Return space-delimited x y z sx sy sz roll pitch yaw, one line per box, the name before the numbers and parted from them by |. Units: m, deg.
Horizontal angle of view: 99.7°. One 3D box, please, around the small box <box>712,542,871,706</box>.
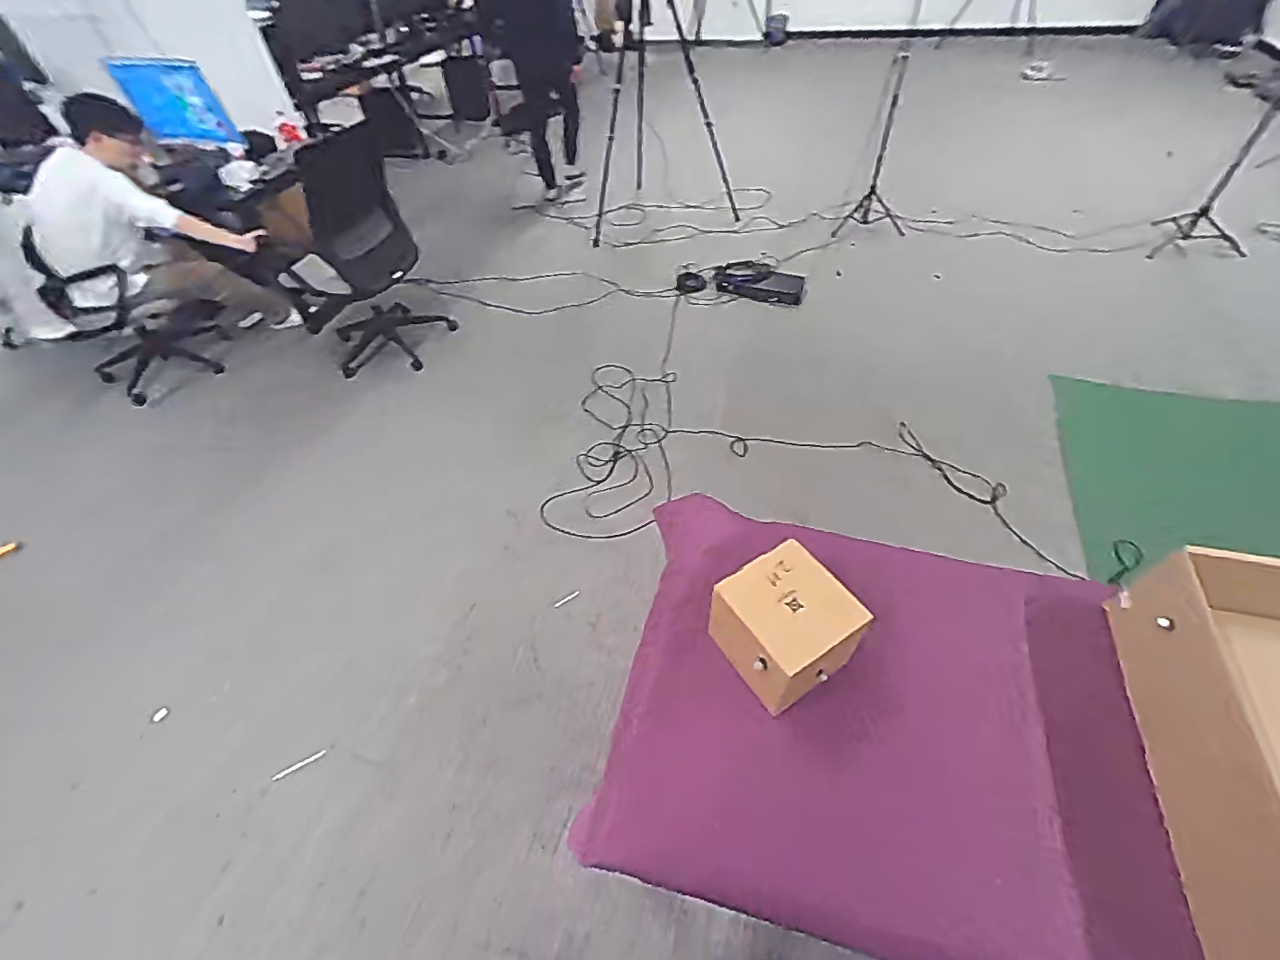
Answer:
small box | 0.233 0.240 0.878 0.168 0.176 0.179 -26 52 -19
